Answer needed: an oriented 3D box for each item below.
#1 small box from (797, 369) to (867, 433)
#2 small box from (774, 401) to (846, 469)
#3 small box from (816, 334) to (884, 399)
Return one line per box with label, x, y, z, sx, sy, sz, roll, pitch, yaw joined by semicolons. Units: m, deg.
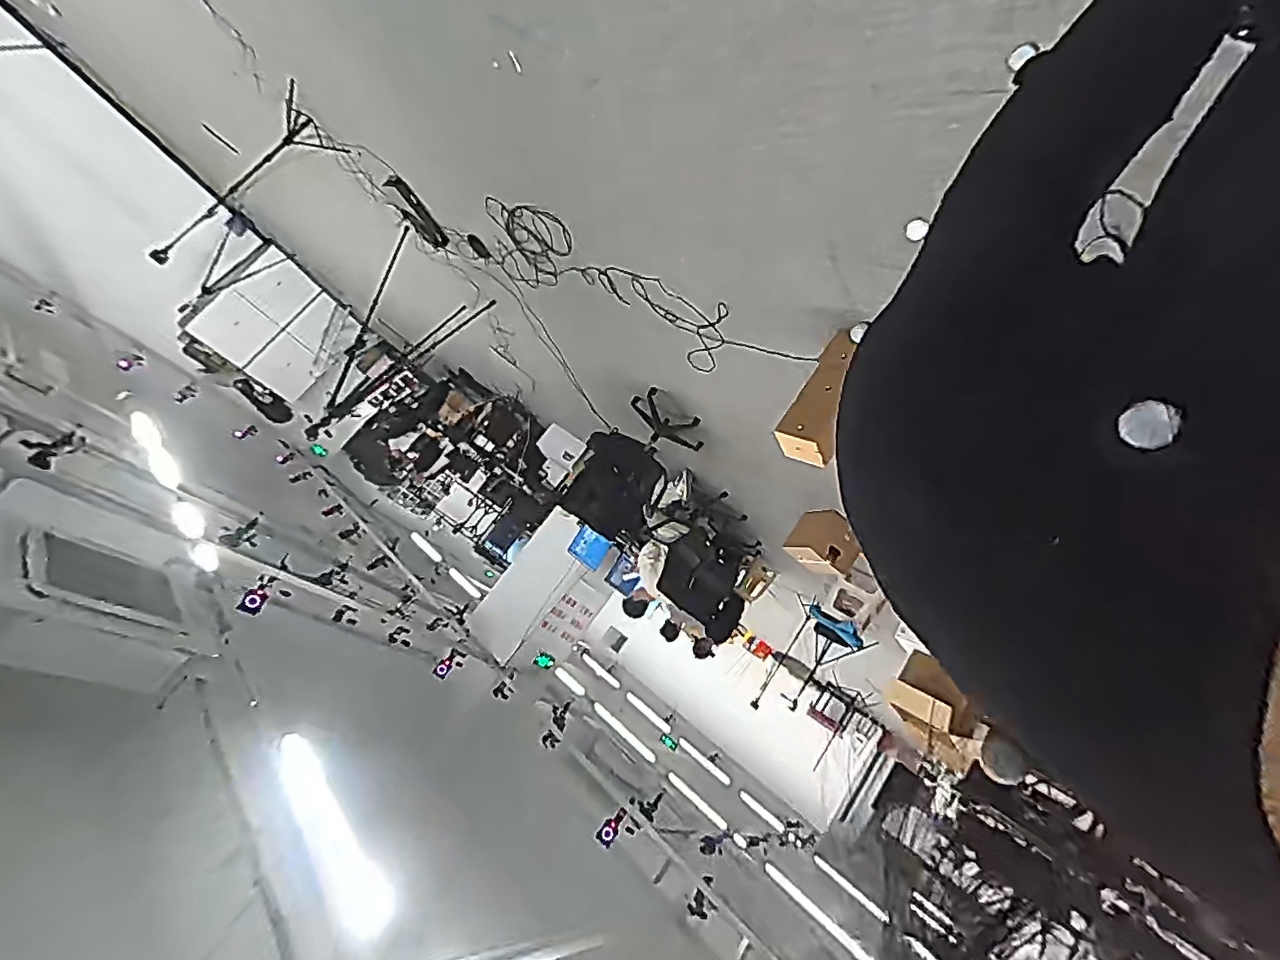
small box;0.725;-0.297;2.039;0.179;0.176;0.168;24;163;41
small box;0.630;-0.172;1.997;0.179;0.176;0.168;24;162;42
small box;0.810;-0.436;2.064;0.179;0.176;0.168;25;162;45
